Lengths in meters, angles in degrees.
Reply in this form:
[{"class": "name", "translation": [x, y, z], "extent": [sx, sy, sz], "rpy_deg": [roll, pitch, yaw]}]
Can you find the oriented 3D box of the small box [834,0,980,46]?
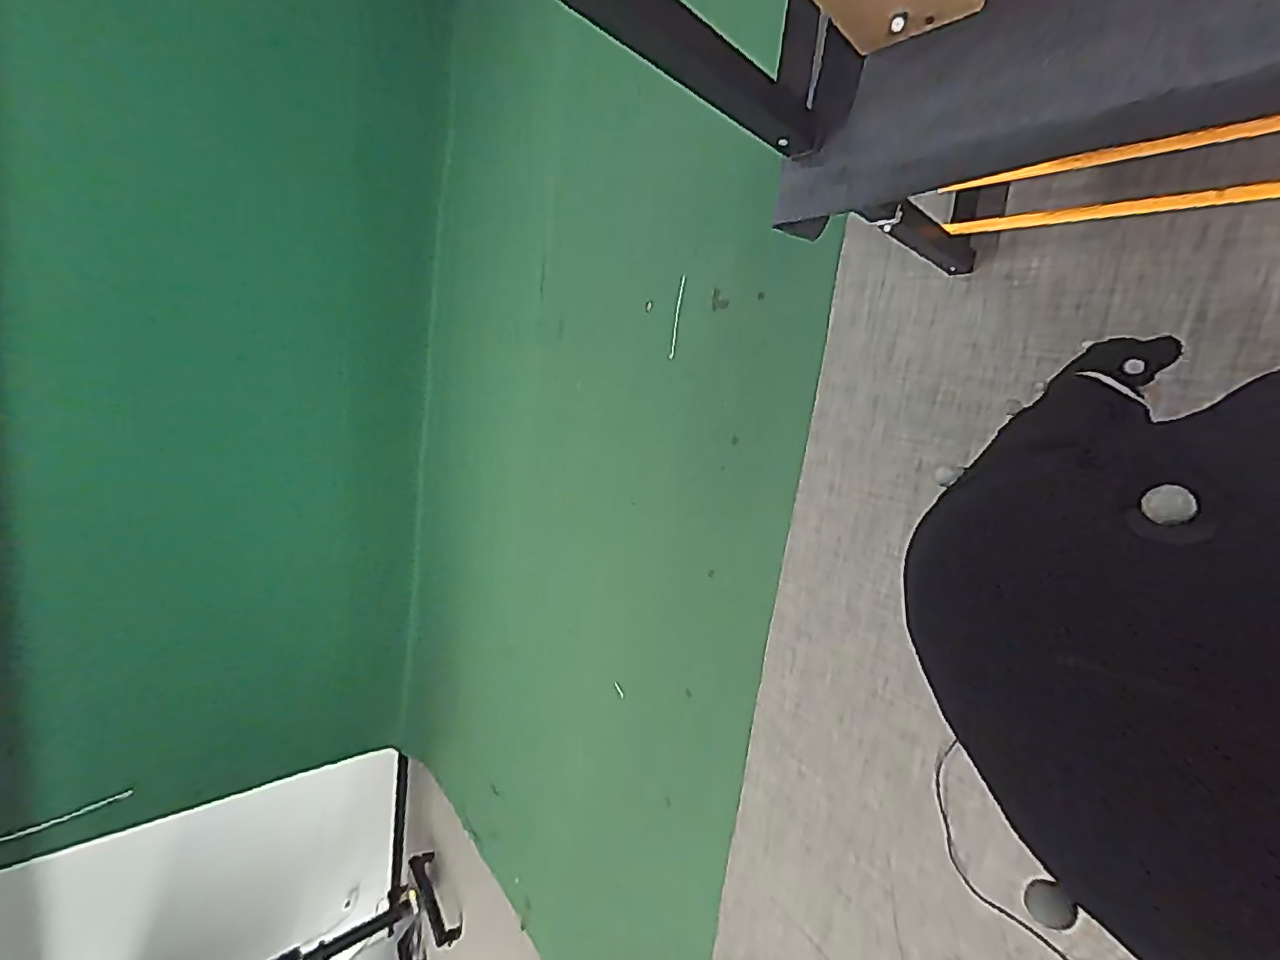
[{"class": "small box", "translation": [0.342, -0.714, 0.687], "extent": [0.168, 0.176, 0.179], "rpy_deg": [17, 103, 46]}]
